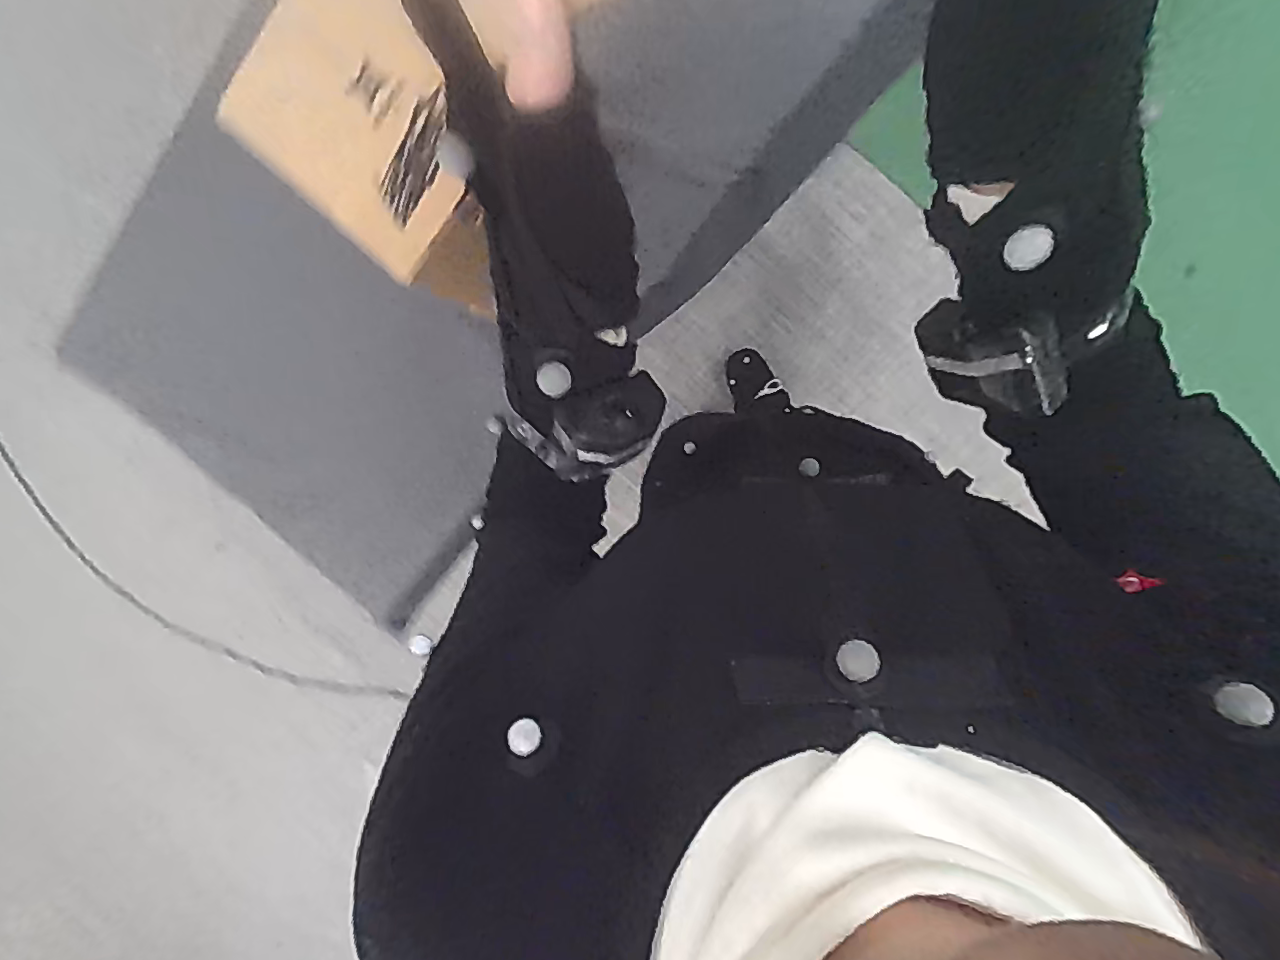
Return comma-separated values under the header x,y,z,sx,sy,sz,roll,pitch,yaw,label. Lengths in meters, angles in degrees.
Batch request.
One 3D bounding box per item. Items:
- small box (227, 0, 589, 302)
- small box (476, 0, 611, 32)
x,y,z,sx,sy,sz,roll,pitch,yaw,label
-0.164,-0.265,0.441,0.179,0.176,0.168,38,102,-1,small box
0.011,-0.264,0.142,0.168,0.176,0.179,-11,131,22,small box
